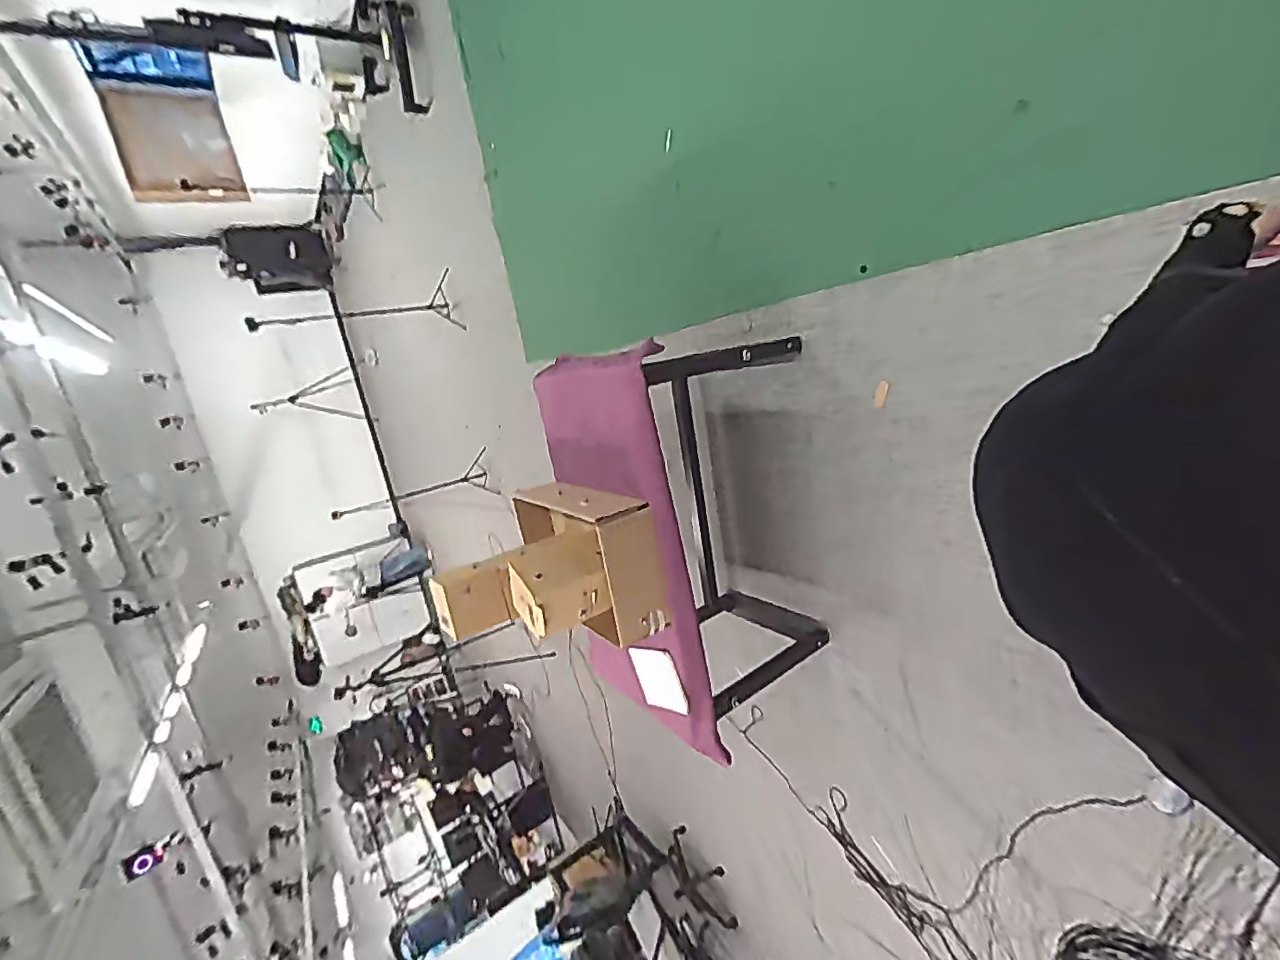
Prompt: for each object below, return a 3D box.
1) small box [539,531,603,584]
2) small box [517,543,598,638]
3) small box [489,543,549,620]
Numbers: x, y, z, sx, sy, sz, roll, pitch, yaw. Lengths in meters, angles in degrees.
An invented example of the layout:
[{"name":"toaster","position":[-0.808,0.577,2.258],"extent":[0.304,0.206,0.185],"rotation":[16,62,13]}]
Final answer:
[{"name":"small box","position":[-0.240,0.287,1.859],"extent":[0.179,0.176,0.168],"rotation":[9,113,54]},{"name":"small box","position":[-0.227,0.302,1.525],"extent":[0.179,0.176,0.168],"rotation":[38,137,44]},{"name":"small box","position":[-0.368,0.326,1.769],"extent":[0.168,0.176,0.179],"rotation":[6,110,55]}]
